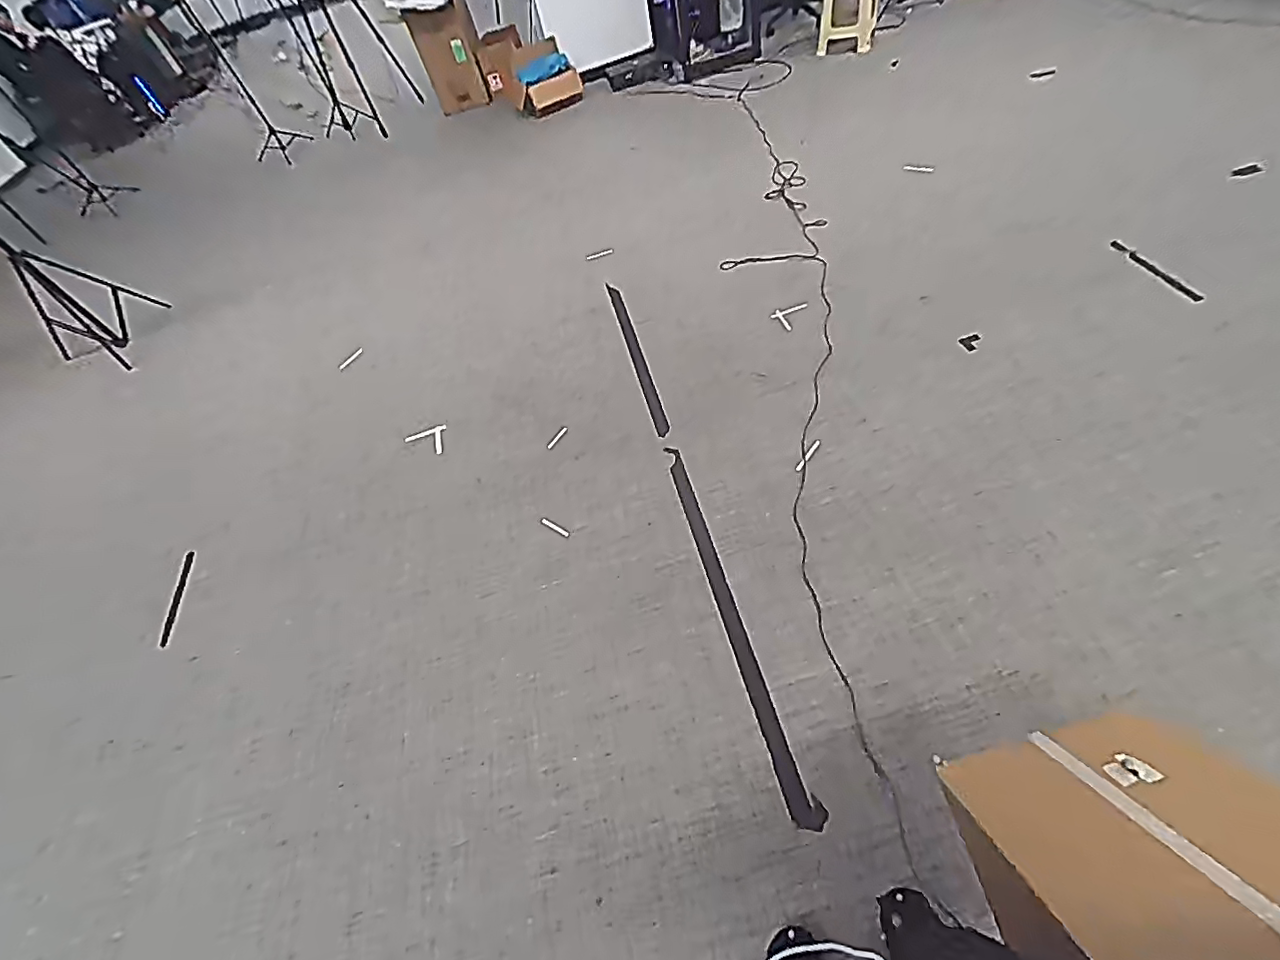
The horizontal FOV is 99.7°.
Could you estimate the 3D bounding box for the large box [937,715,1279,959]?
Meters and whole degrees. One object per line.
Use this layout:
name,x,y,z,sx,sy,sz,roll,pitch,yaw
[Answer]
large box,0.645,0.550,0.634,0.320,0.408,0.320,-20,88,5
